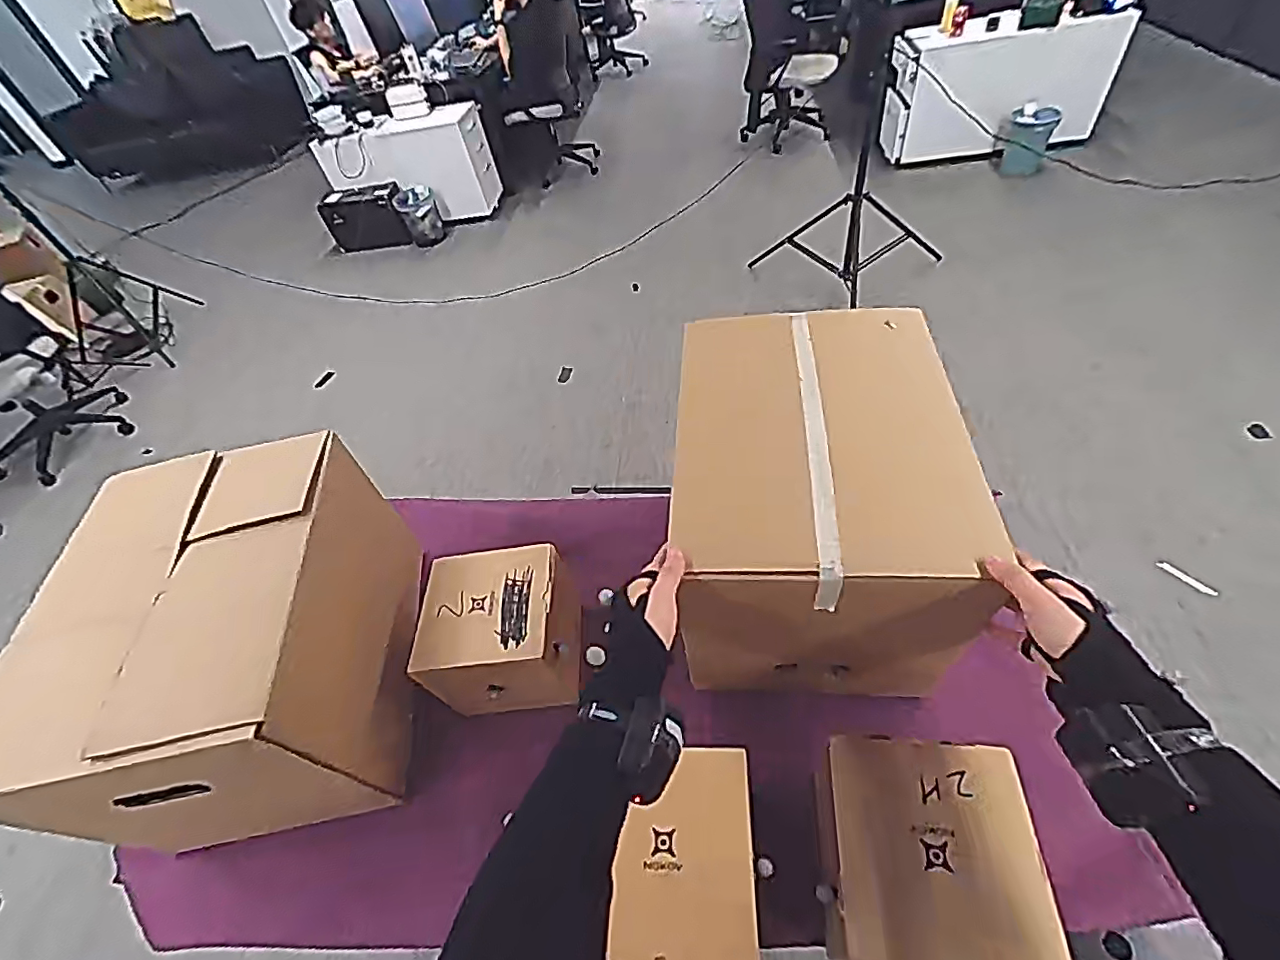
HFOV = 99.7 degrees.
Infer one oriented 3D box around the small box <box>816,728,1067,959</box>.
[{"bbox_3d":[0.266,0.365,0.526,0.168,0.176,0.179,0,48,12],"label":"small box"}]
